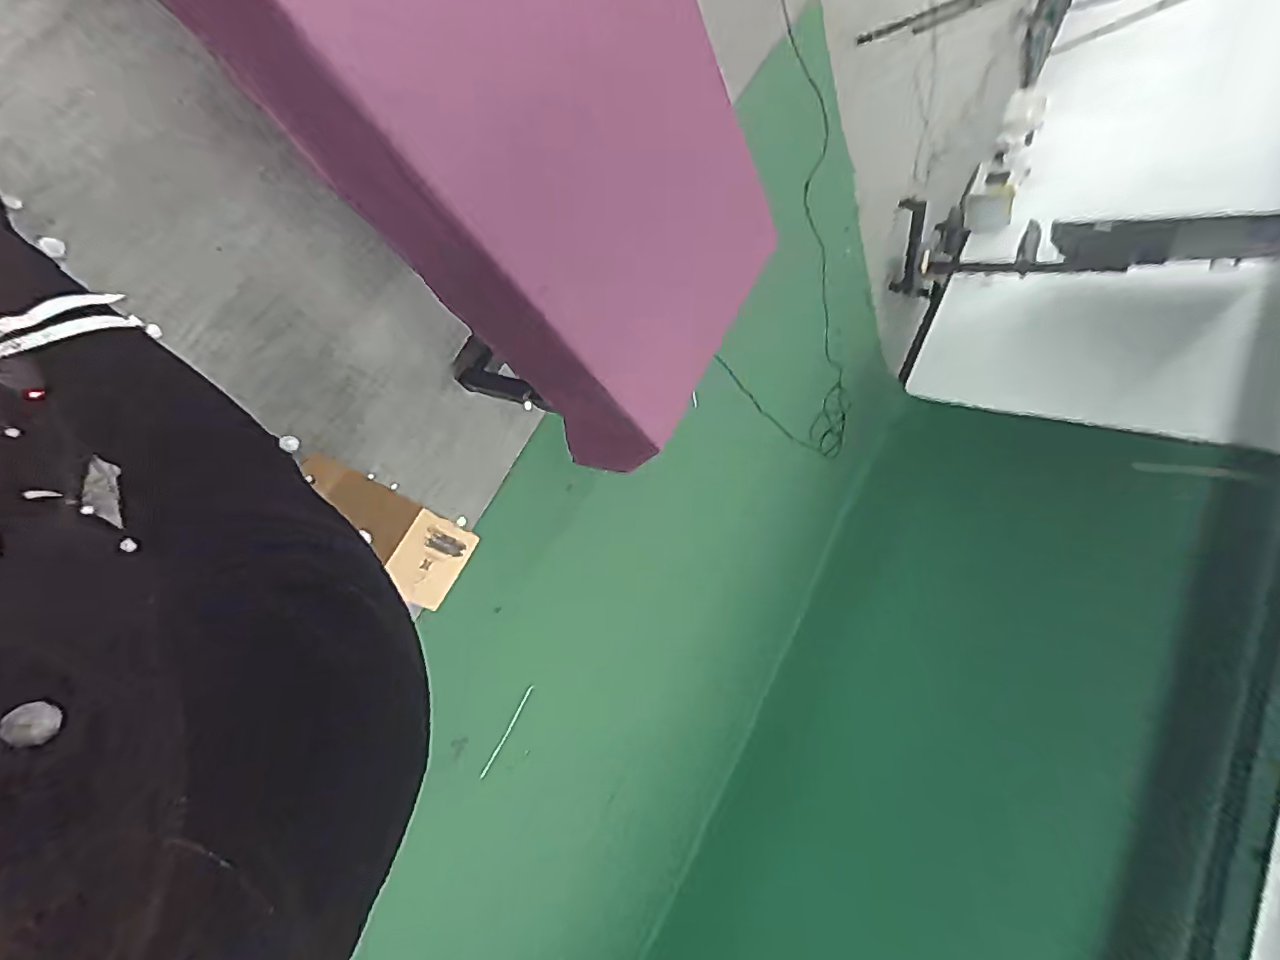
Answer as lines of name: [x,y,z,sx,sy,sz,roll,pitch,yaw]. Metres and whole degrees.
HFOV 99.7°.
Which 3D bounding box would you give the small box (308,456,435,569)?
small box: [-0.612,0.072,1.224,0.179,0.176,0.168,-61,144,-14]
